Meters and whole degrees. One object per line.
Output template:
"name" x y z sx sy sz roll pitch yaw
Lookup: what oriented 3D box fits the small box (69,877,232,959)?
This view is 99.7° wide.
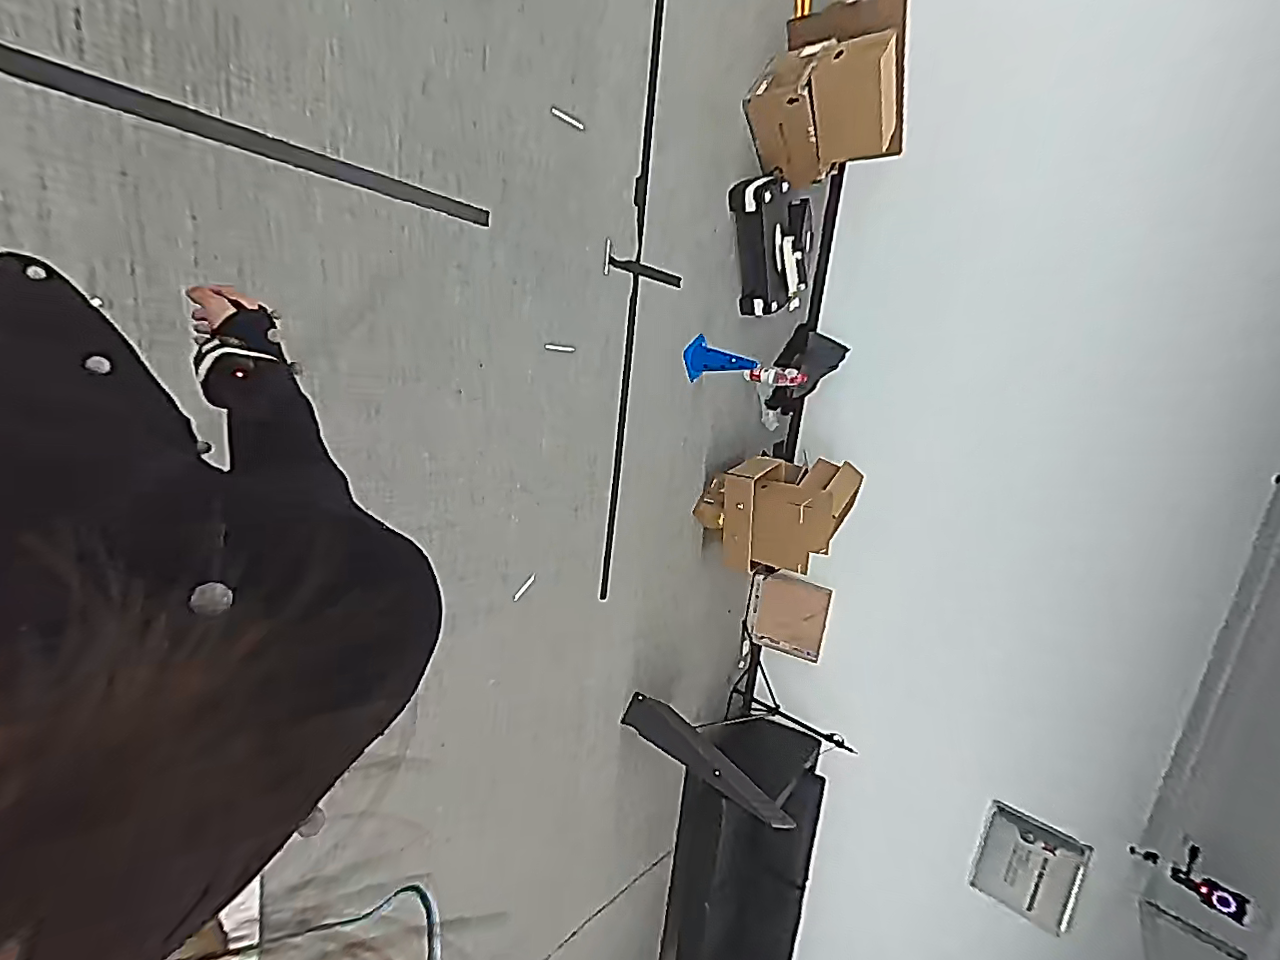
"small box" -0.816 0.830 0.908 0.179 0.176 0.168 -9 110 -50
